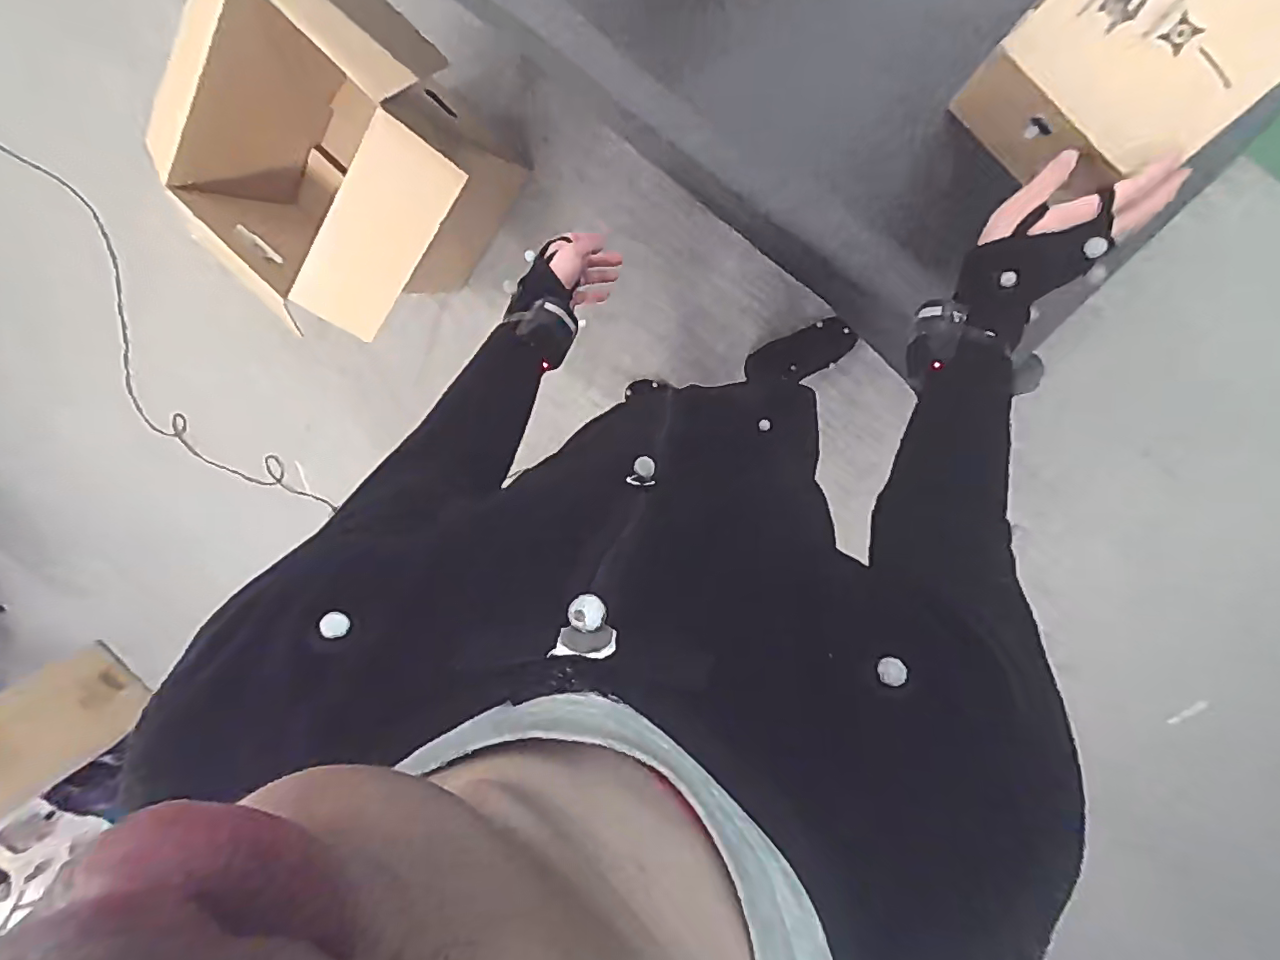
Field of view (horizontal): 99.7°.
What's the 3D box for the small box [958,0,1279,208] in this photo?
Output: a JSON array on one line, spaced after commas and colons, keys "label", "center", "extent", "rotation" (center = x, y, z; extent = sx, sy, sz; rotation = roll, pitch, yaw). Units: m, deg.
[{"label": "small box", "center": [0.427, -0.374, 0.485], "extent": [0.179, 0.176, 0.168], "rotation": [44, 115, -3]}]
